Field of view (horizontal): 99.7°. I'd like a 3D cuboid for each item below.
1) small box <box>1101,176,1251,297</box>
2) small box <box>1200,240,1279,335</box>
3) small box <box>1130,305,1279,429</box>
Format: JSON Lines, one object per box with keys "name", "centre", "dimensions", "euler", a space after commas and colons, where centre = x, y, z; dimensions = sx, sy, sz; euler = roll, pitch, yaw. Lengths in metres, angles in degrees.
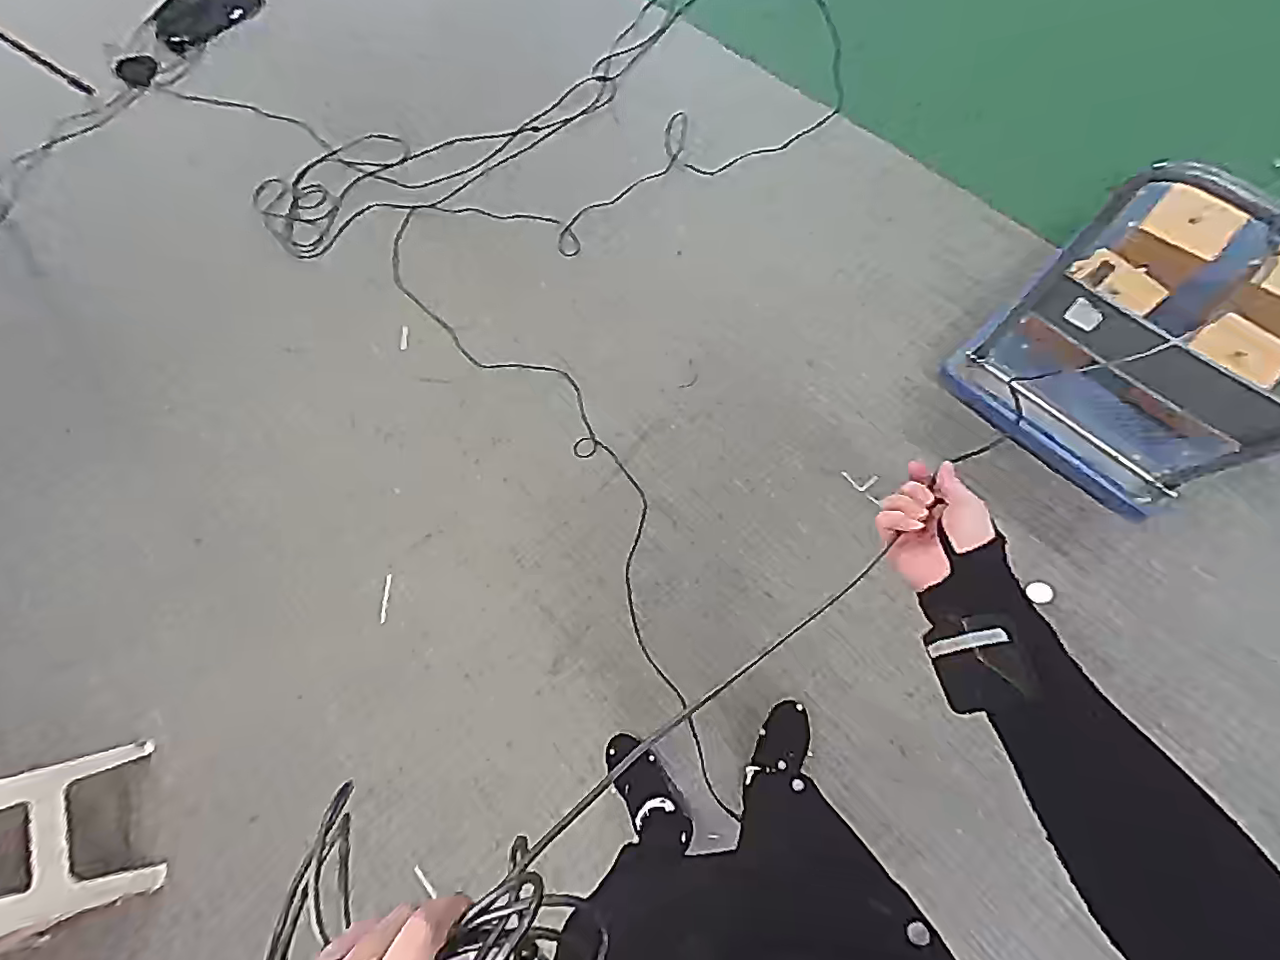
{"name": "small box", "centre": [1.291, -0.587, 1.323], "dimensions": [0.168, 0.176, 0.179], "euler": [41, 82, 17]}
{"name": "small box", "centre": [1.473, -0.431, 1.246], "dimensions": [0.168, 0.176, 0.179], "euler": [41, 83, 18]}
{"name": "small box", "centre": [1.278, -0.247, 1.218], "dimensions": [0.179, 0.176, 0.168], "euler": [-42, 72, -5]}
